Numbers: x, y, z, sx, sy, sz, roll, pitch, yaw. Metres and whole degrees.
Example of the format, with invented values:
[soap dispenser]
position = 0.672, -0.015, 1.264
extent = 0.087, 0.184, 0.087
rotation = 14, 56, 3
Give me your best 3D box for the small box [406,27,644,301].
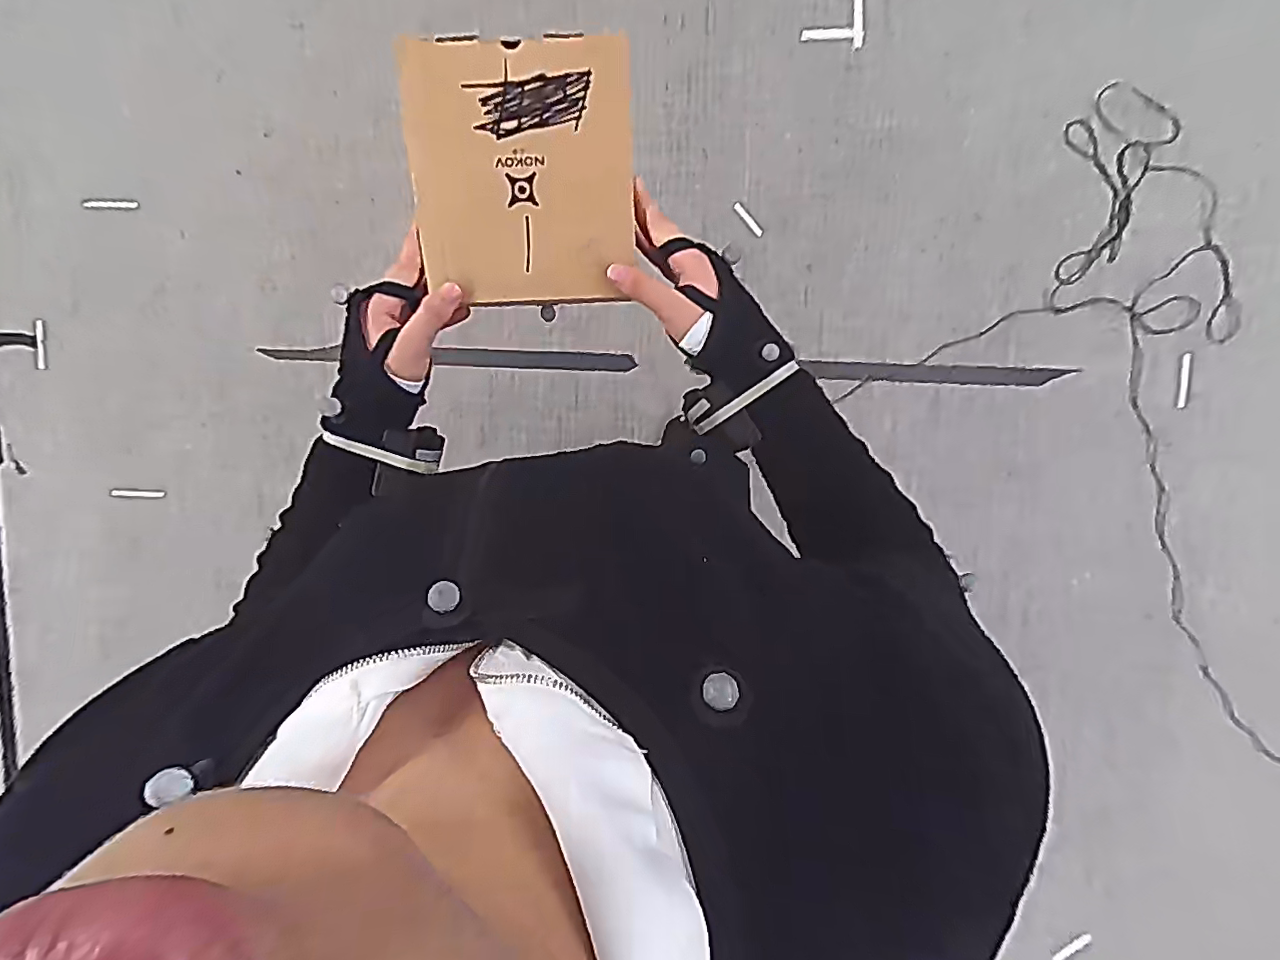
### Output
[small box]
position = -0.083, -0.255, 0.478
extent = 0.168, 0.176, 0.179
rotation = -2, 108, 0
